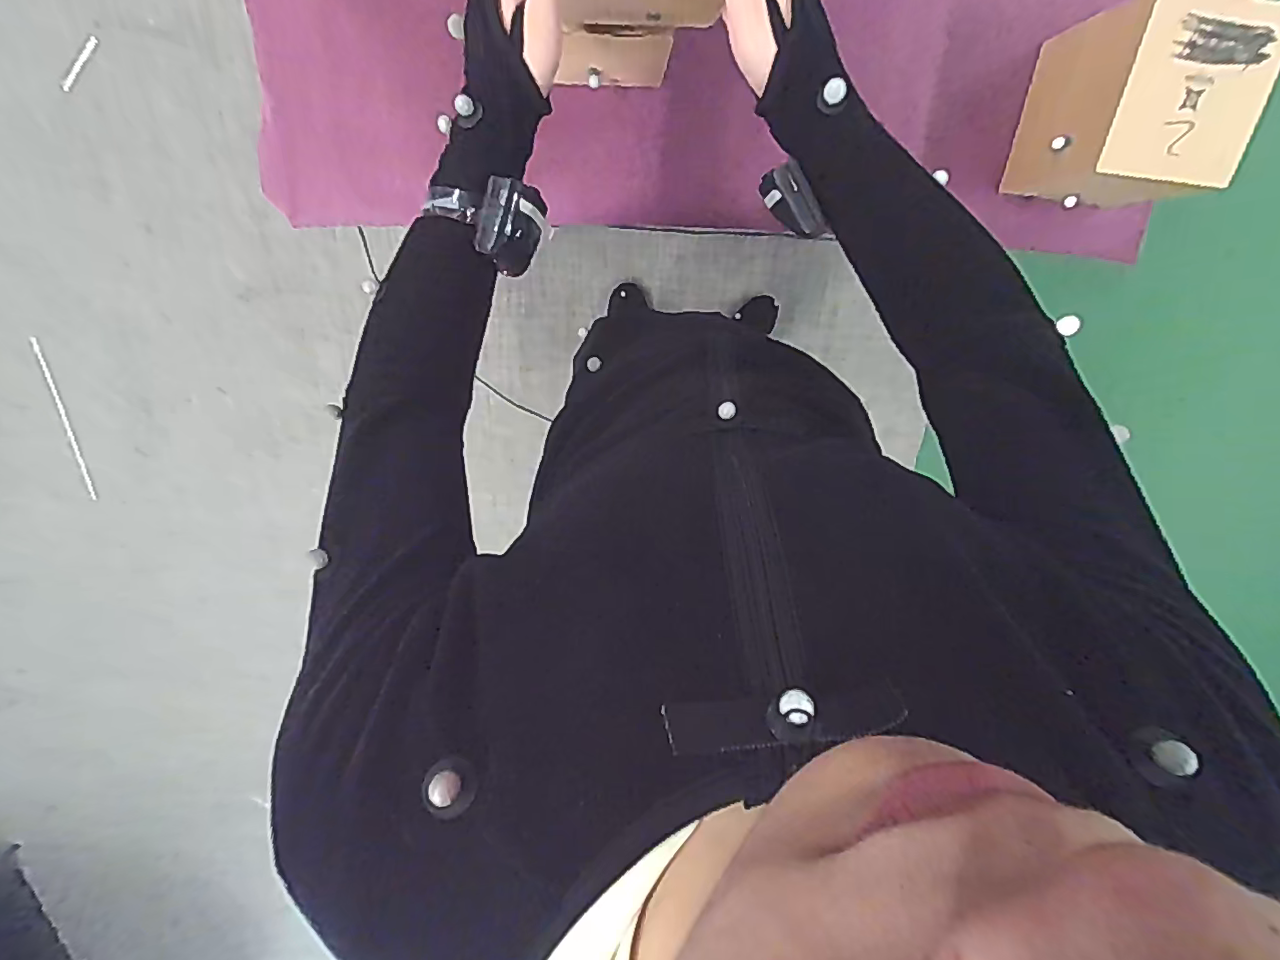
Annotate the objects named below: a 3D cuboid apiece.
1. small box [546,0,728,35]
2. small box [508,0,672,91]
[{"bbox_3d":[-0.002,-0.480,0.410,0.168,0.176,0.179,-1,114,-3],"label":"small box"},{"bbox_3d":[-0.051,-0.554,0.586,0.168,0.176,0.179,0,112,-2],"label":"small box"}]
